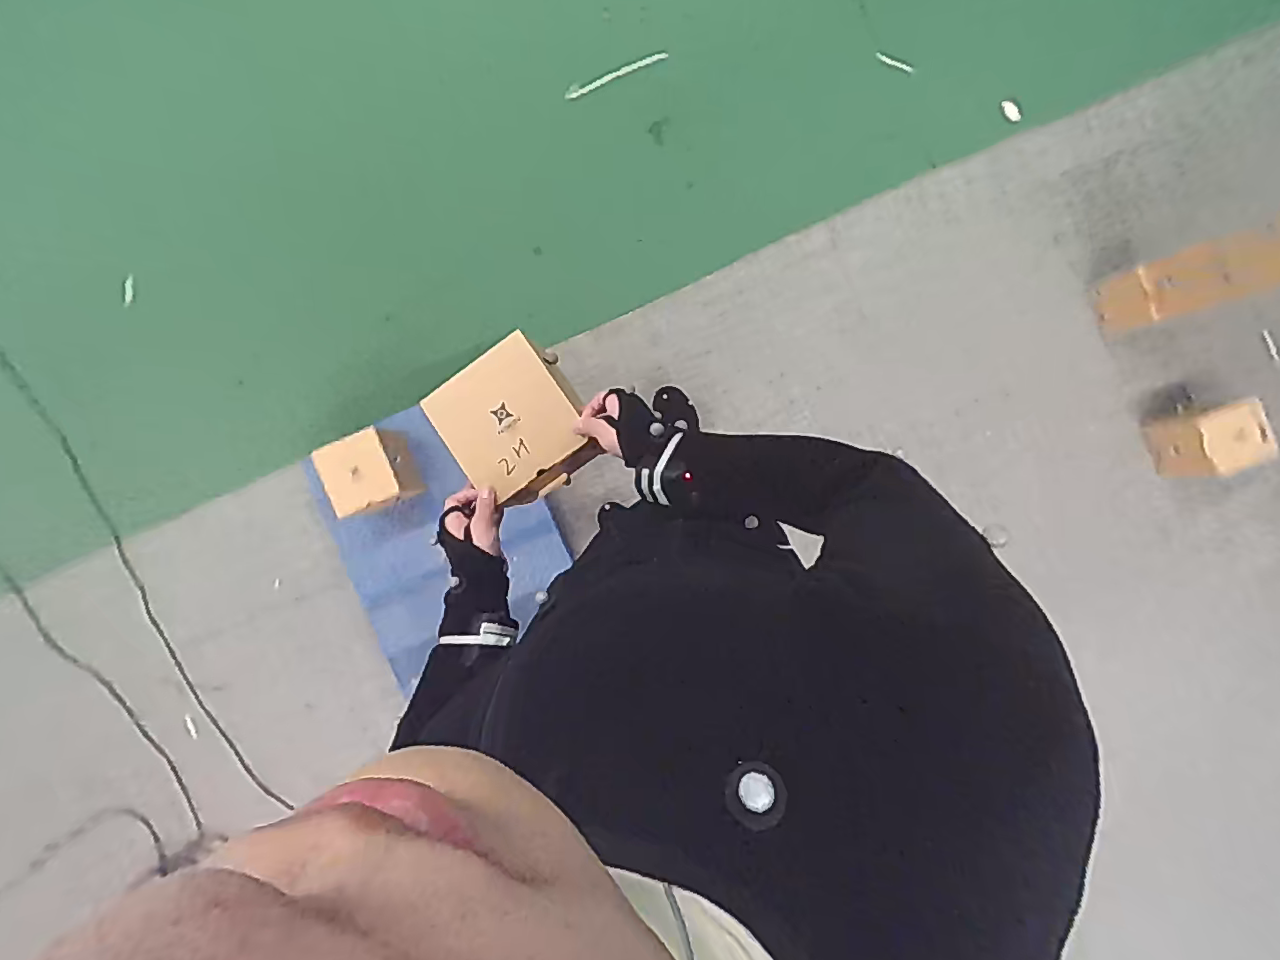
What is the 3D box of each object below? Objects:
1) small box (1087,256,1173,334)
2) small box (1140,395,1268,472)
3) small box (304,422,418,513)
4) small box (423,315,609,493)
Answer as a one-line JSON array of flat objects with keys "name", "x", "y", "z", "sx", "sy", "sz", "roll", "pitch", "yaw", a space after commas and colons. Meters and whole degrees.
[{"name": "small box", "x": 1.412, "y": -0.529, "z": 1.522, "sx": 0.179, "sy": 0.176, "sz": 0.168, "roll": -19, "pitch": 92, "yaw": 0}, {"name": "small box", "x": 1.577, "y": -0.125, "z": 1.530, "sx": 0.179, "sy": 0.176, "sz": 0.168, "roll": -21, "pitch": 91, "yaw": 2}, {"name": "small box", "x": -0.692, "y": -0.033, "z": 1.364, "sx": 0.168, "sy": 0.176, "sz": 0.179, "roll": -22, "pitch": 92, "yaw": 0}, {"name": "small box", "x": -0.162, "y": -0.096, "z": 0.765, "sx": 0.168, "sy": 0.176, "sz": 0.179, "roll": -33, "pitch": 89, "yaw": 4}]
